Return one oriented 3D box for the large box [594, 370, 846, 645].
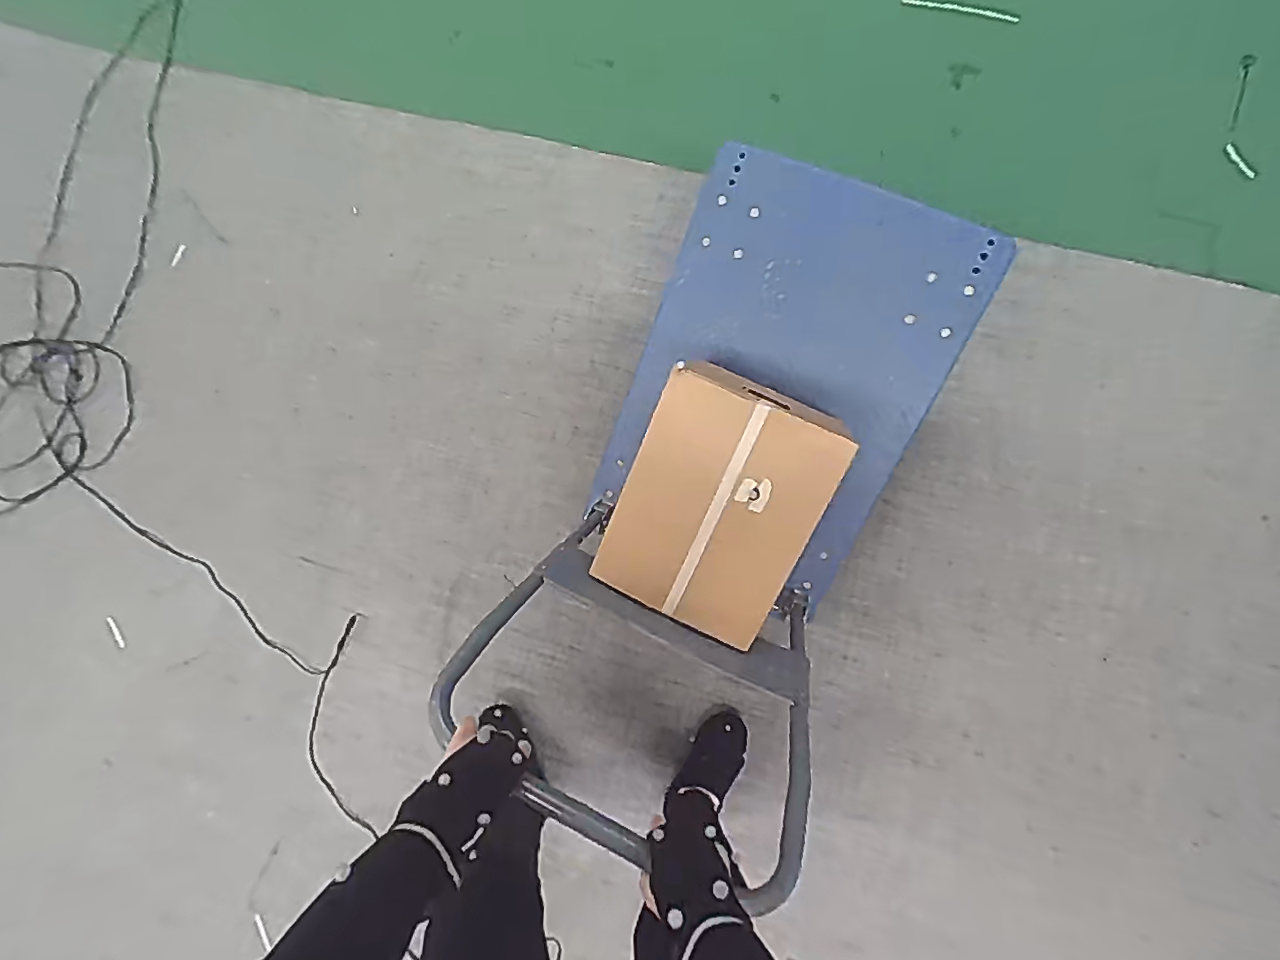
[{"bbox_3d":[0.156,0.029,1.064,0.320,0.320,0.408,25,106,8],"label":"large box"}]
